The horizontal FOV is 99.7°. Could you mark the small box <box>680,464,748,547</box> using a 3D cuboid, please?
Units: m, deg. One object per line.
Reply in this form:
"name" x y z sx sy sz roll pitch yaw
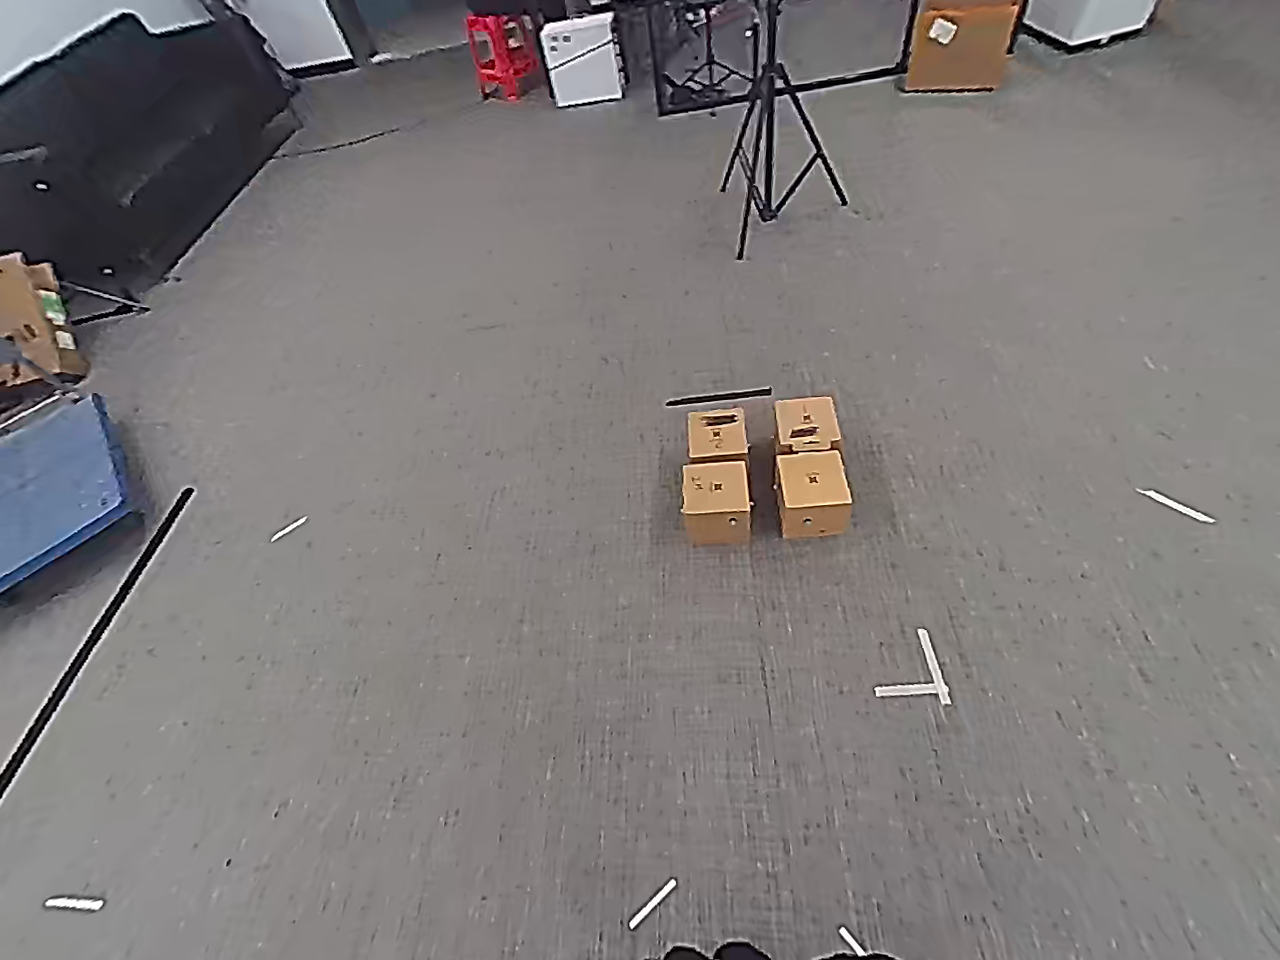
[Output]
"small box" 0.207 0.075 1.511 0.179 0.176 0.168 -4 54 9
